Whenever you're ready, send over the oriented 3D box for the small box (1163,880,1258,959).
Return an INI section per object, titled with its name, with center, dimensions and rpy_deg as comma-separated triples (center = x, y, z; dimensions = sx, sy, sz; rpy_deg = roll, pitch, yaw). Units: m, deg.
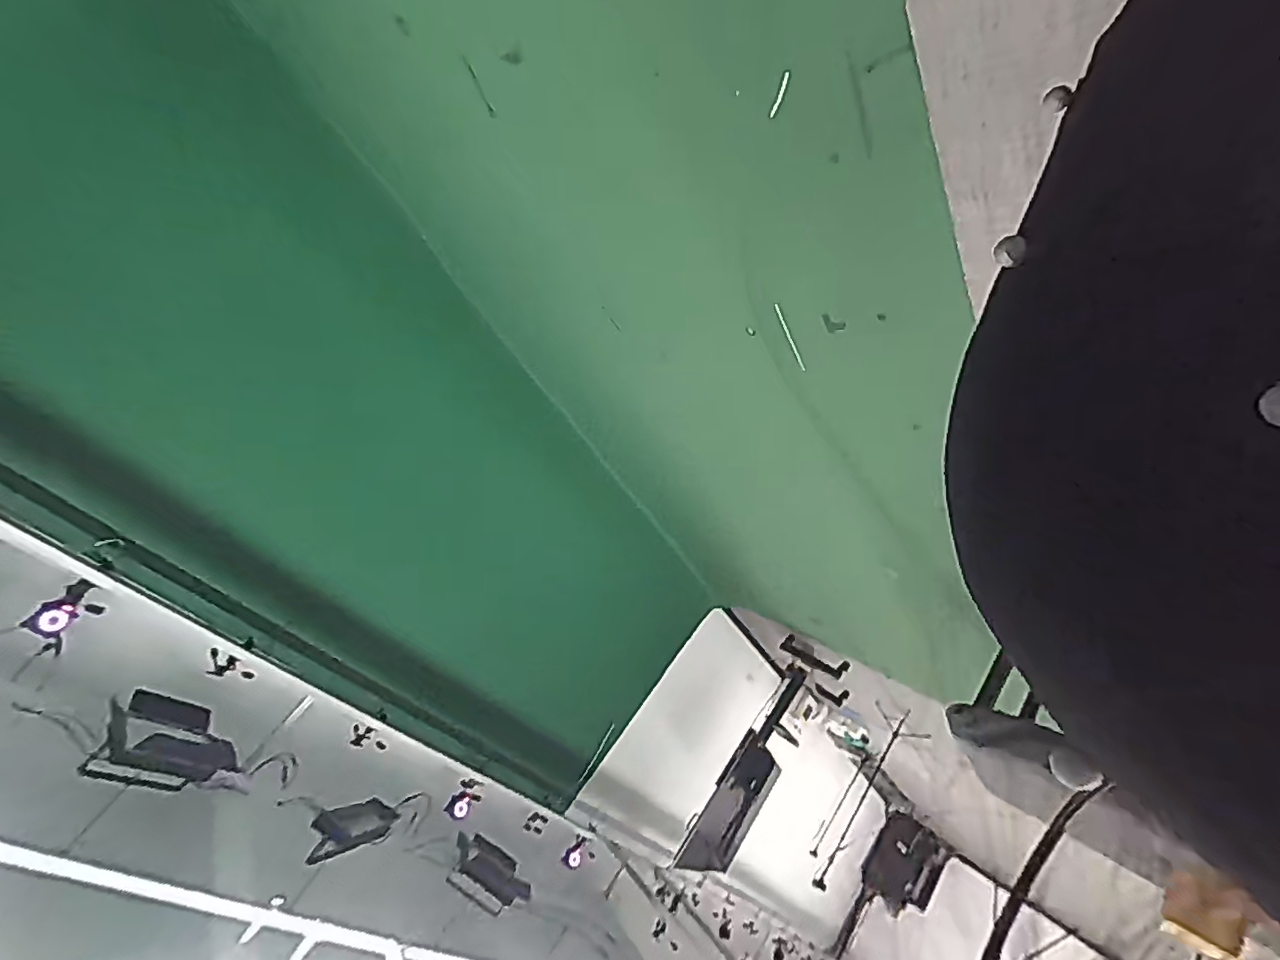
[small box]
center = 1.672, 1.327, 1.588
dimensions = 0.168, 0.176, 0.179
rpy_deg = 15, 149, 52
